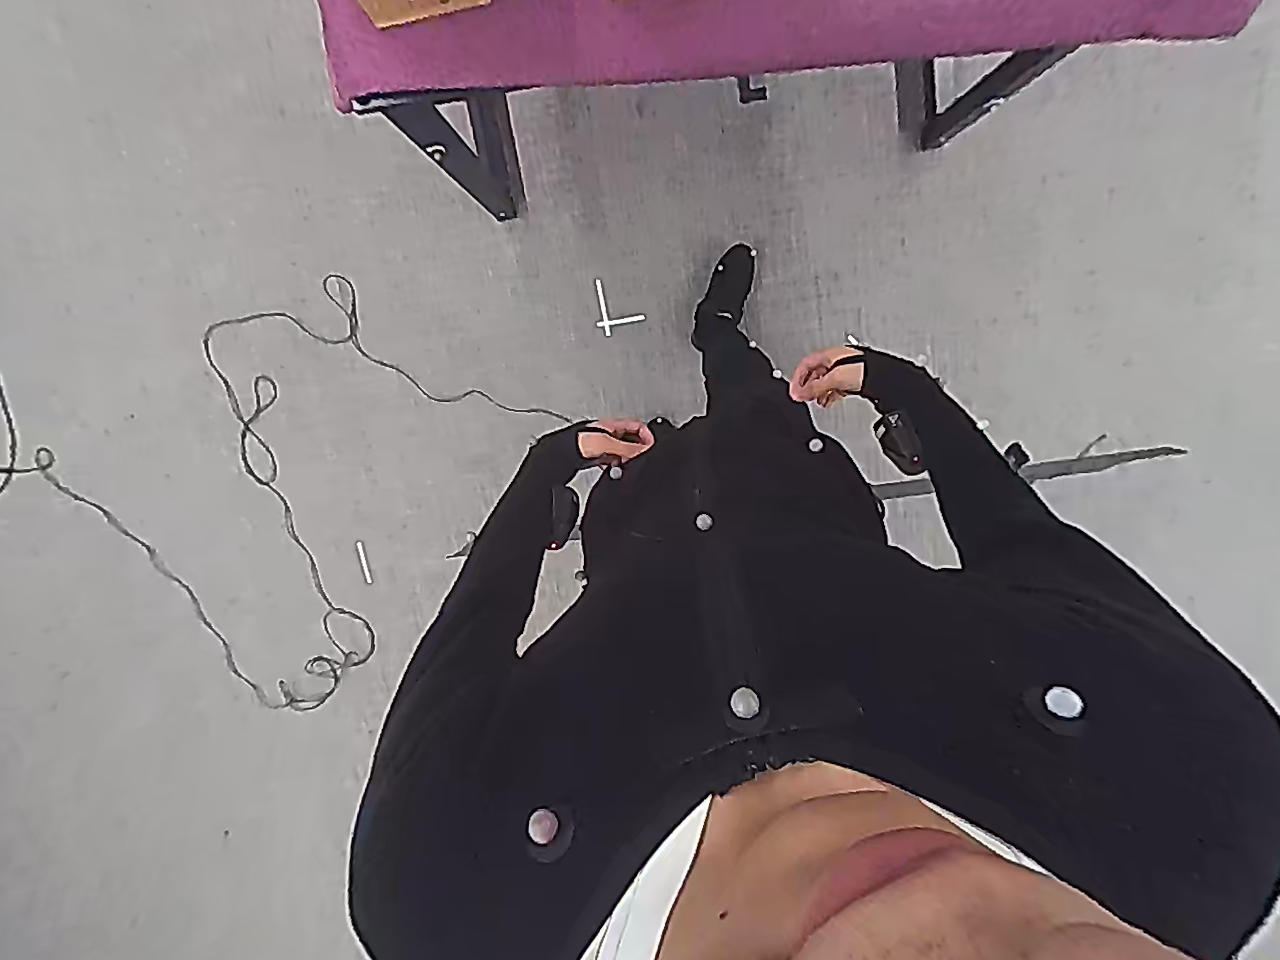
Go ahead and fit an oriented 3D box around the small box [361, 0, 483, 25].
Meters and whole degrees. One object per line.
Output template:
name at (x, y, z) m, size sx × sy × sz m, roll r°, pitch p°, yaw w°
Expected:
small box at (-0.295, -0.689, 0.628) m, size 0.168 × 0.176 × 0.179 m, roll -13°, pitch 103°, yaw 1°
